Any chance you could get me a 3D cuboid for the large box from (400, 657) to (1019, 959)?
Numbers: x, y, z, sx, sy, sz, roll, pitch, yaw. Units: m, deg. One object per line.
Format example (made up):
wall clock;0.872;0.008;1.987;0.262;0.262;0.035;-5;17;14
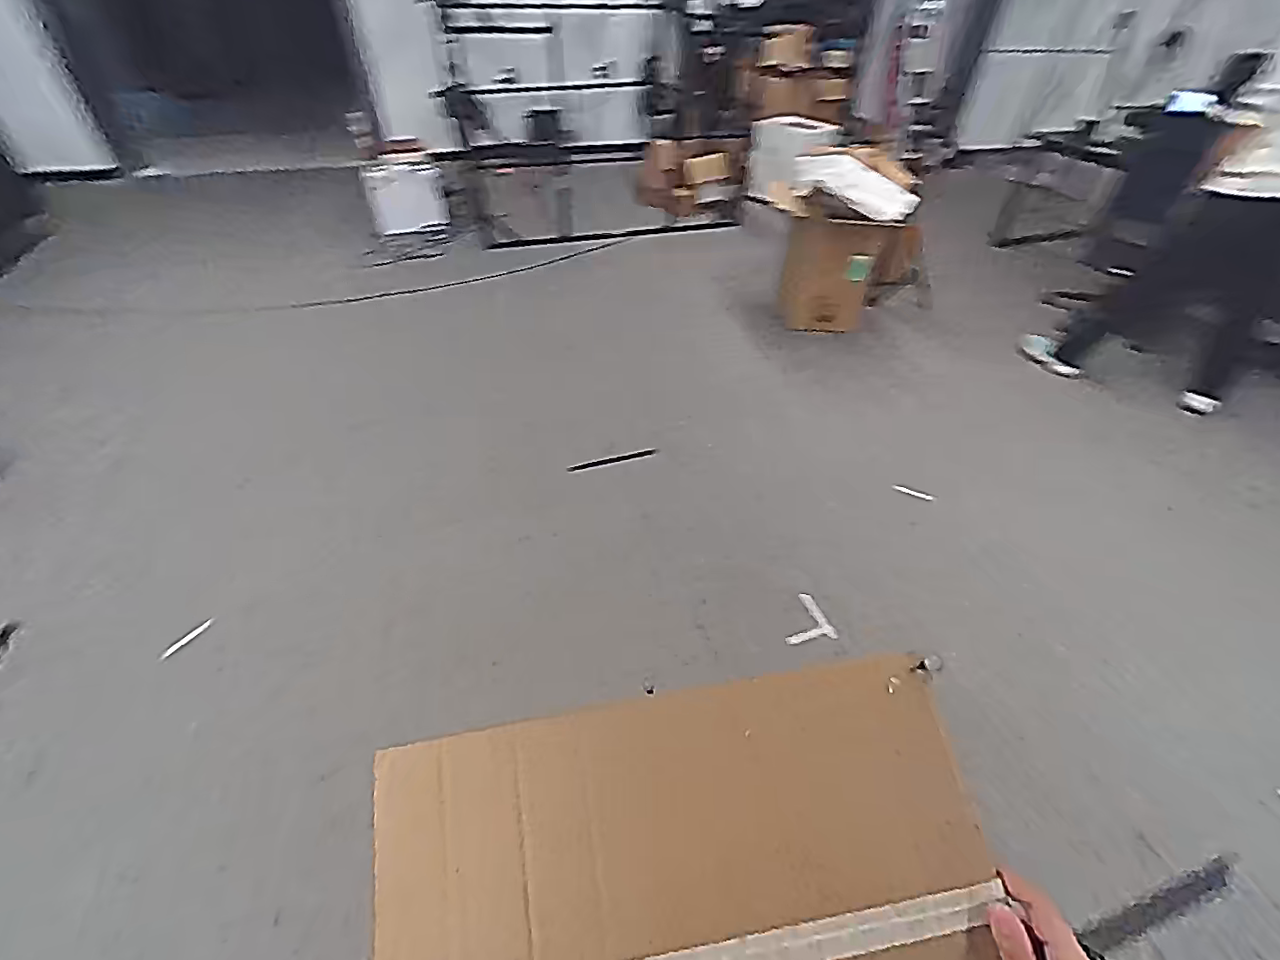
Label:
large box;0.044;0.363;0.490;0.408;0.320;0.320;-9;70;-3
